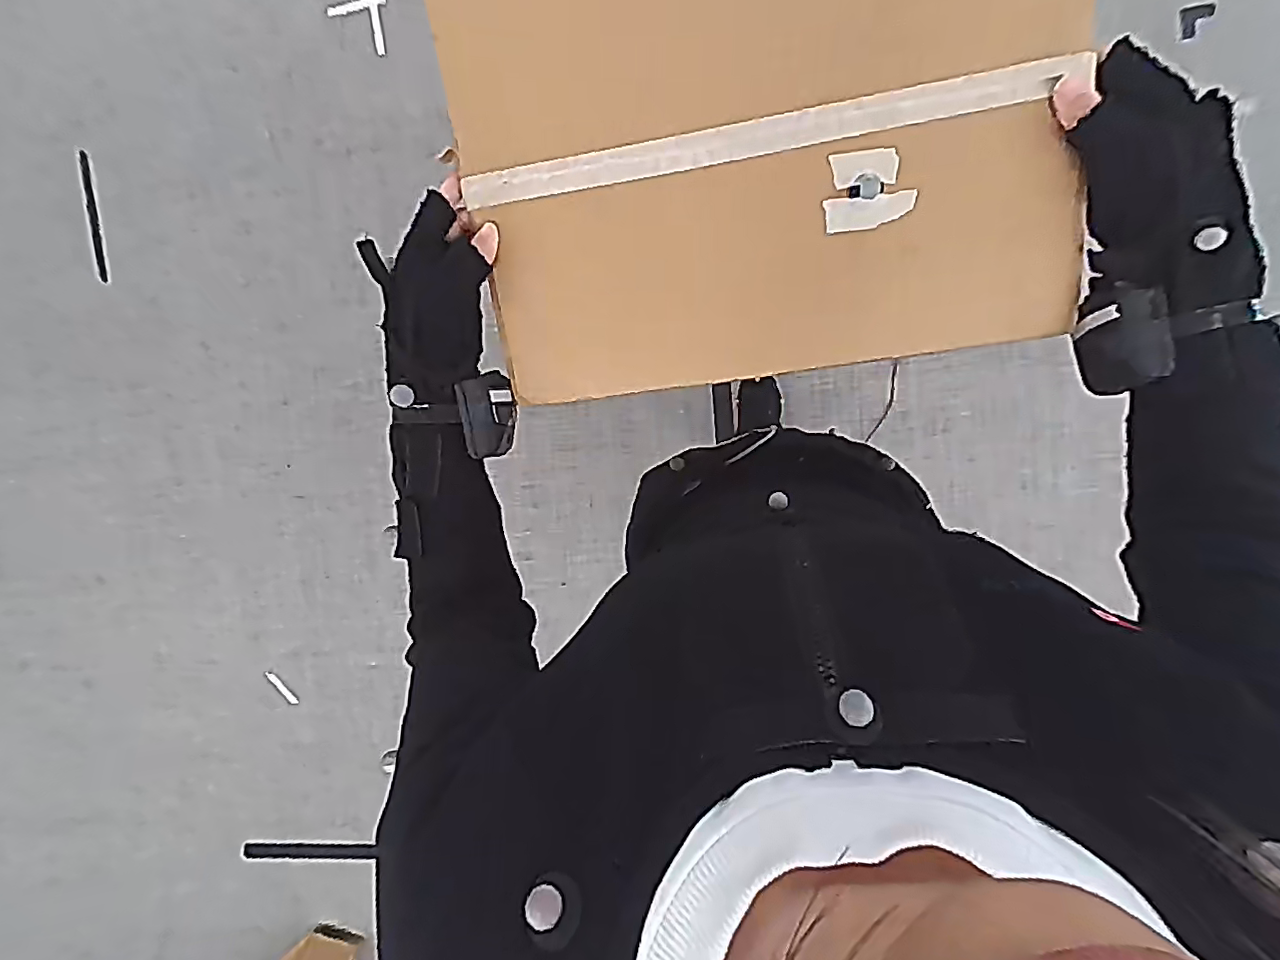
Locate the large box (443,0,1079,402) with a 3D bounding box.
[{"bbox_3d":[0.093,-0.276,0.513,0.408,0.320,0.320,-8,107,7],"label":"large box"}]
